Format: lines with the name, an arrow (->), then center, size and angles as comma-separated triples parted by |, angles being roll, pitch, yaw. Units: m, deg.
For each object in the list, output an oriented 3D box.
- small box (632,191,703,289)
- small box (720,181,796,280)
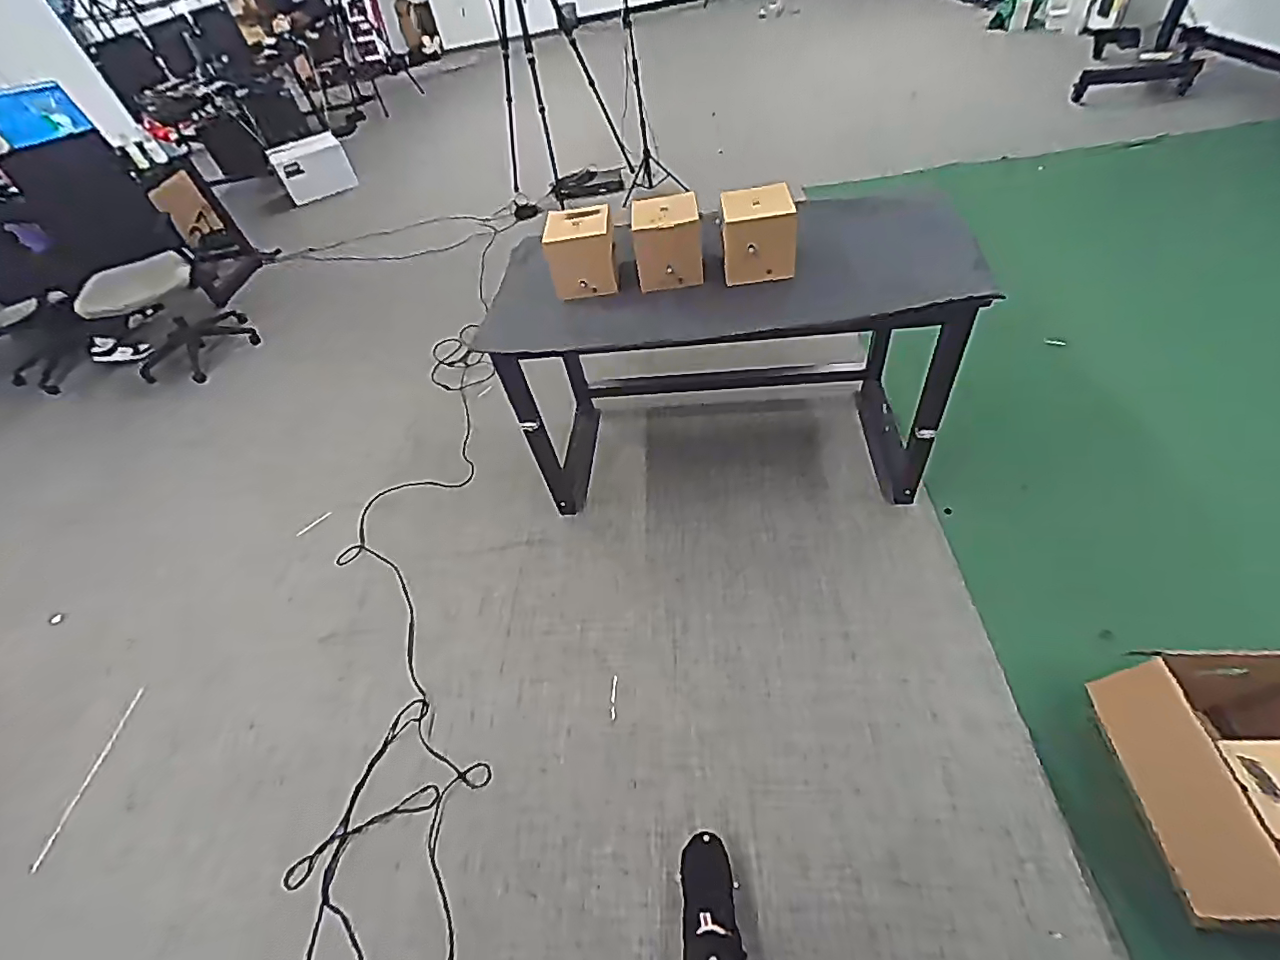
small box -> 0.073, -0.620, 1.403 | 0.168, 0.176, 0.179 | -6, 48, 7
small box -> 0.293, -0.617, 1.358 | 0.168, 0.176, 0.179 | -5, 48, 7
